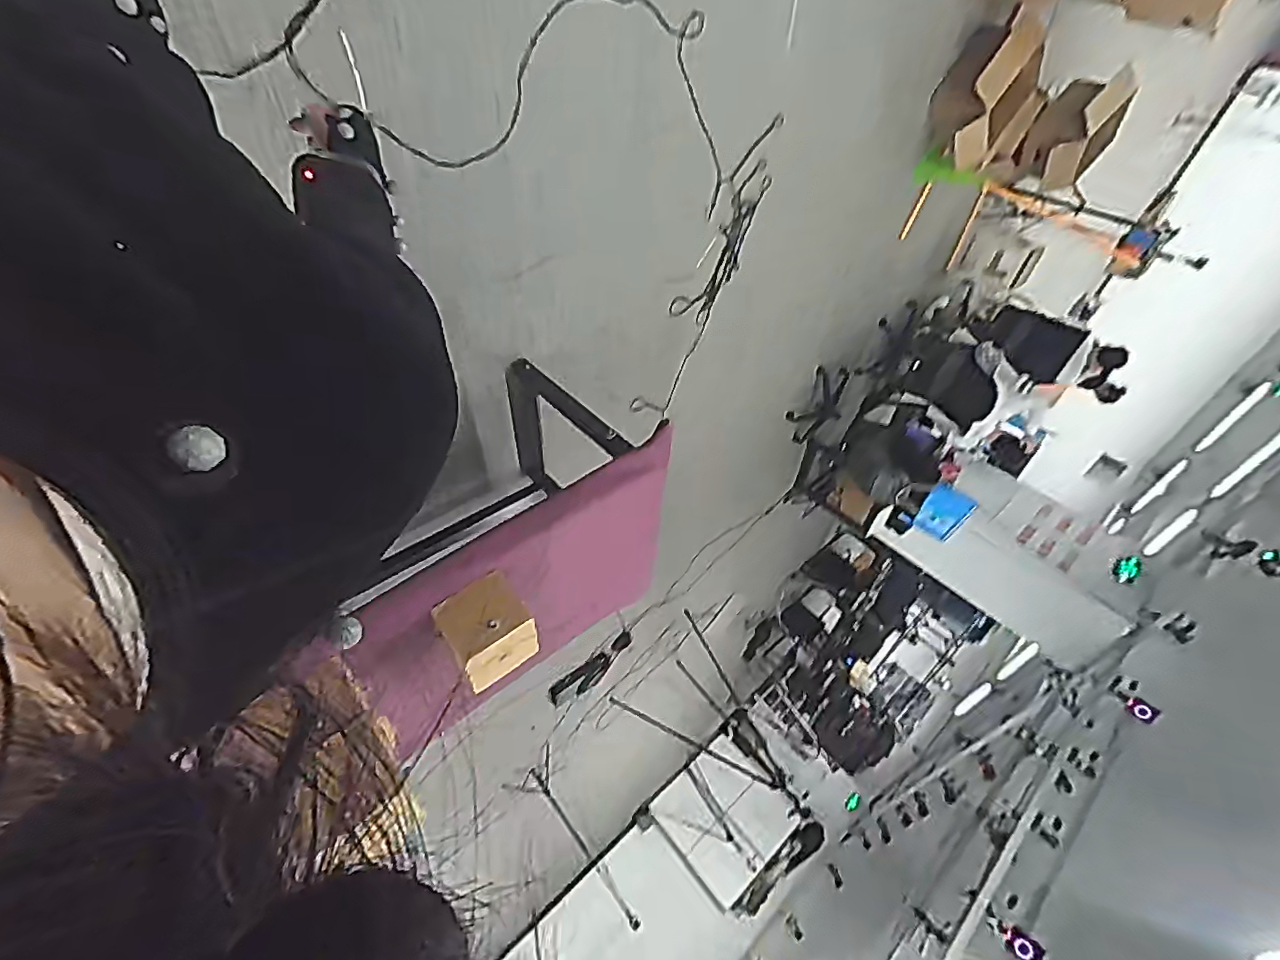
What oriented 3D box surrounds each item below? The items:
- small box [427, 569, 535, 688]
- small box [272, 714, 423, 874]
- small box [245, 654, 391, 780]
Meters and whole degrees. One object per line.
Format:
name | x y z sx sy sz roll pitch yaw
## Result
small box | -0.368 0.341 1.268 0.179 0.176 0.168 -30 145 -30
small box | -0.524 0.562 0.980 0.168 0.176 0.179 -31 146 -30
small box | -0.635 0.483 1.074 0.179 0.176 0.168 -32 145 -28
